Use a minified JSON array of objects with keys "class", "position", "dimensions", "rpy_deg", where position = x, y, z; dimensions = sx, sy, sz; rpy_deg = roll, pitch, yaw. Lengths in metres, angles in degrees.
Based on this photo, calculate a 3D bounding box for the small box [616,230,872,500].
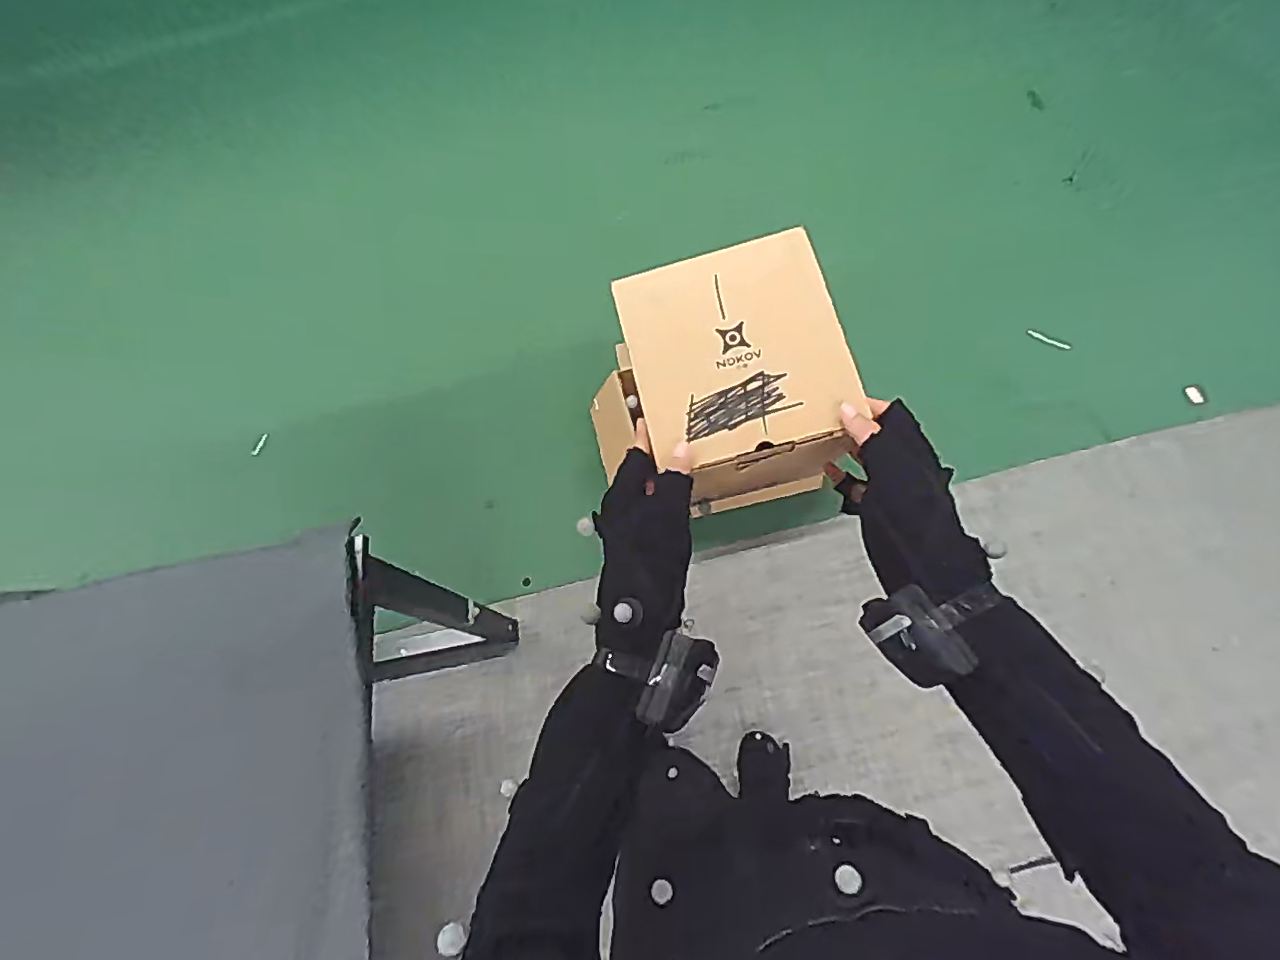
[{"class":"small box","position":[0.087,-0.086,0.502],"dimensions":[0.168,0.176,0.179],"rpy_deg":[-15,76,4]}]
